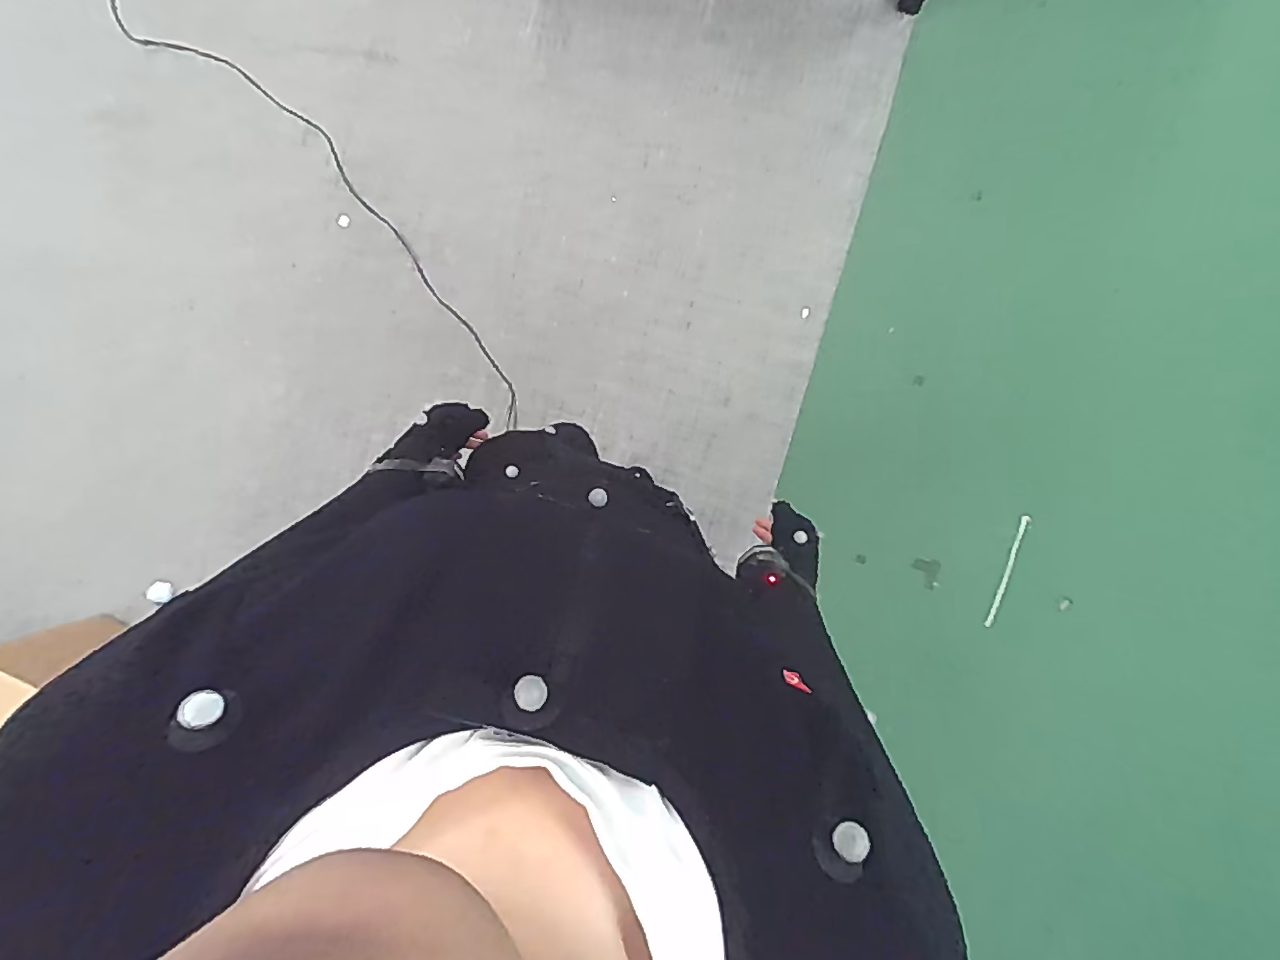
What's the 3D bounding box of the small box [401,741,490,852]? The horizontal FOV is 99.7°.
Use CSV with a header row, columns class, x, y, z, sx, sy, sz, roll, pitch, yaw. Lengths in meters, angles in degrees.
class,x,y,z,sx,sy,sz,roll,pitch,yaw
small box,-0.503,0.801,1.382,0.179,0.176,0.168,16,93,2
